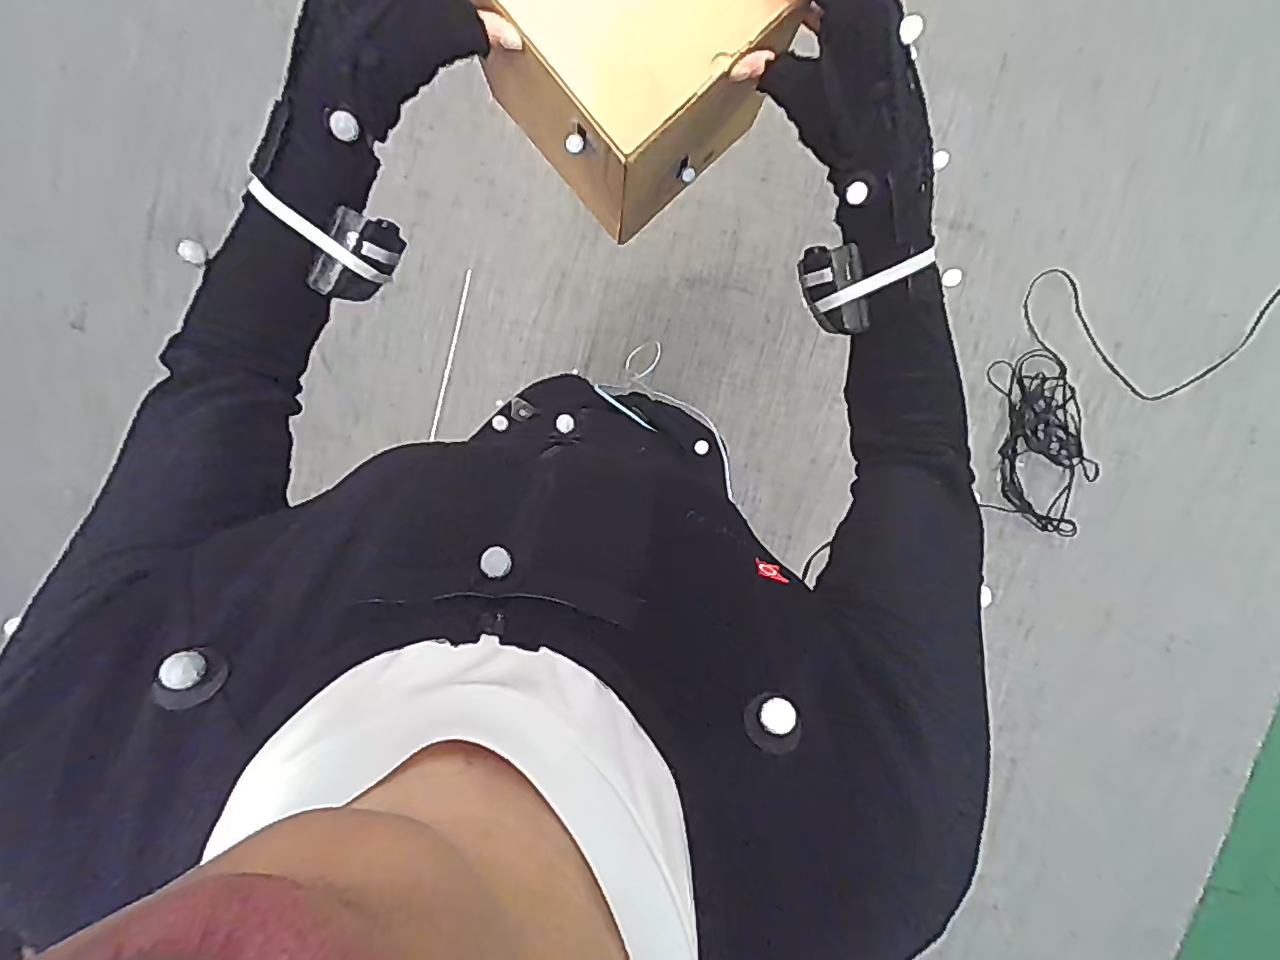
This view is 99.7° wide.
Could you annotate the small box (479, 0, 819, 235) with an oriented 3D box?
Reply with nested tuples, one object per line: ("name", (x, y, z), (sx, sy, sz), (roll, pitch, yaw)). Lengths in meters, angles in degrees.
("small box", (-0.008, -0.329, 0.415), (0.168, 0.176, 0.179), (-41, 99, 0))
